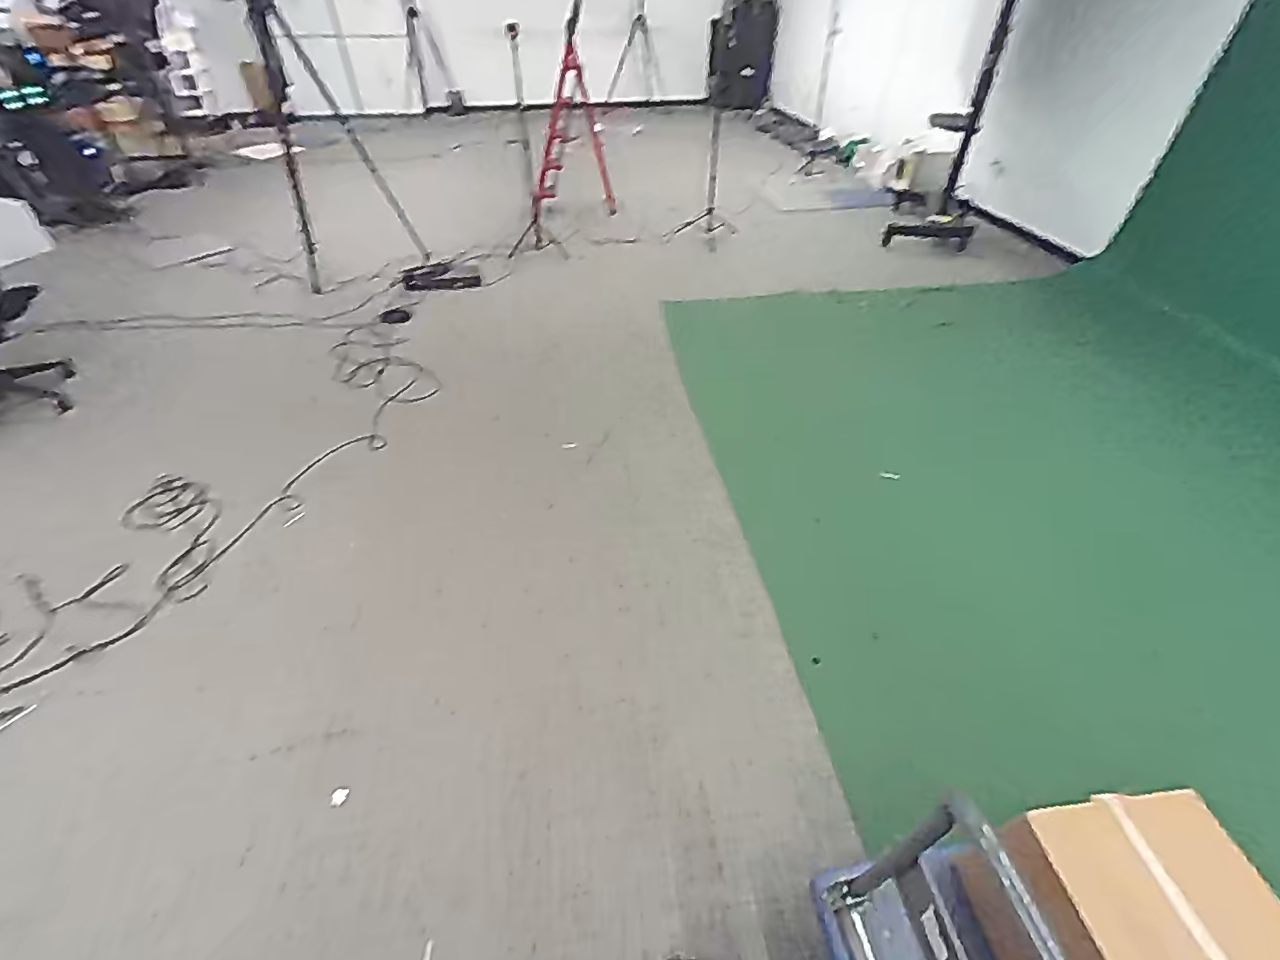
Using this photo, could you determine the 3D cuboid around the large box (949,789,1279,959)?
[{"bbox_3d":[0.808,0.793,0.890,0.320,0.320,0.408,-5,43,-5],"label":"large box"}]
